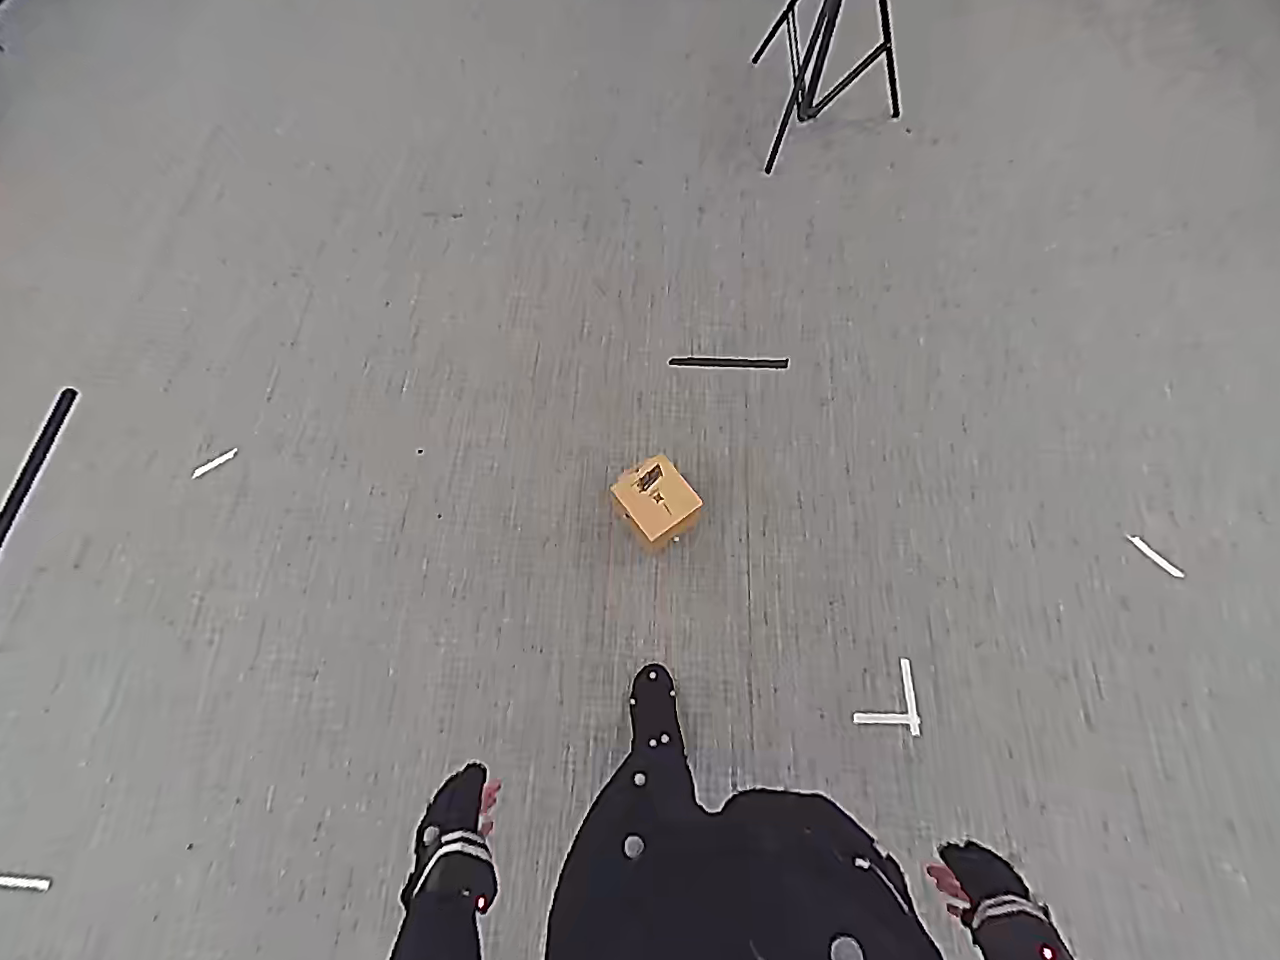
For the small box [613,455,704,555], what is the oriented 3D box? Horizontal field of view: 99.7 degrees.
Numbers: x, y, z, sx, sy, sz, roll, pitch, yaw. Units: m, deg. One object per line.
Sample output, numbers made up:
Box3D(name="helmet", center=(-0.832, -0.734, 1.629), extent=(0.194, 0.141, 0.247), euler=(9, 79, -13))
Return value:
Box3D(name="small box", center=(0.044, 0.072, 1.415), extent=(0.168, 0.176, 0.179), euler=(-34, 73, -12))
